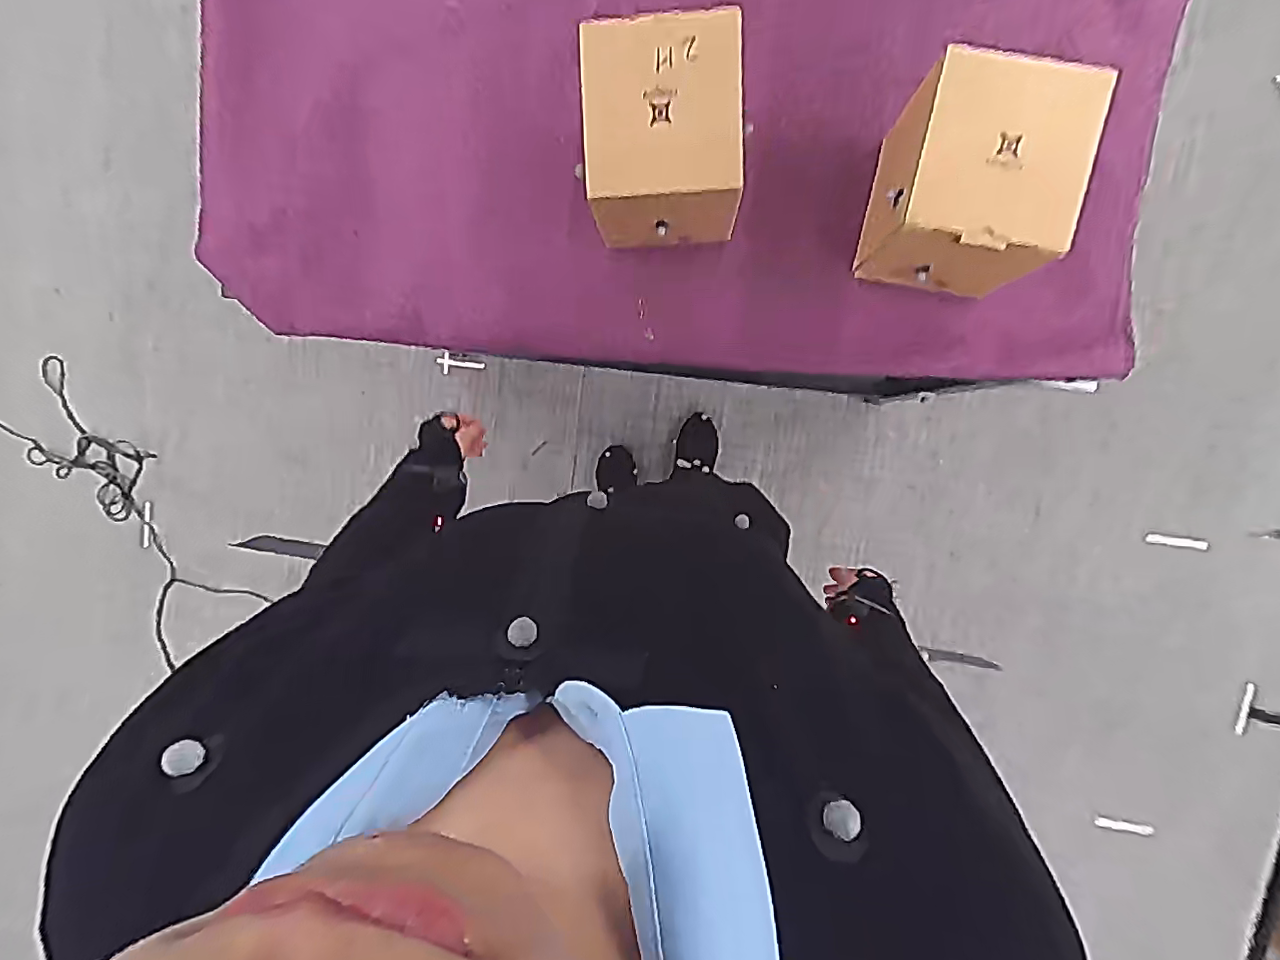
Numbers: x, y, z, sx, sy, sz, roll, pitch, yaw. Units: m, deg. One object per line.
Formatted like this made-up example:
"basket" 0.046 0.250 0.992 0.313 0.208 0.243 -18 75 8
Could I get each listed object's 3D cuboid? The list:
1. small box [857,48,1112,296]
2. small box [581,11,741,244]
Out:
"small box" 0.368 -0.330 0.615 0.168 0.176 0.179 12 95 3
"small box" 0.028 -0.390 0.634 0.168 0.176 0.179 -1 95 4
